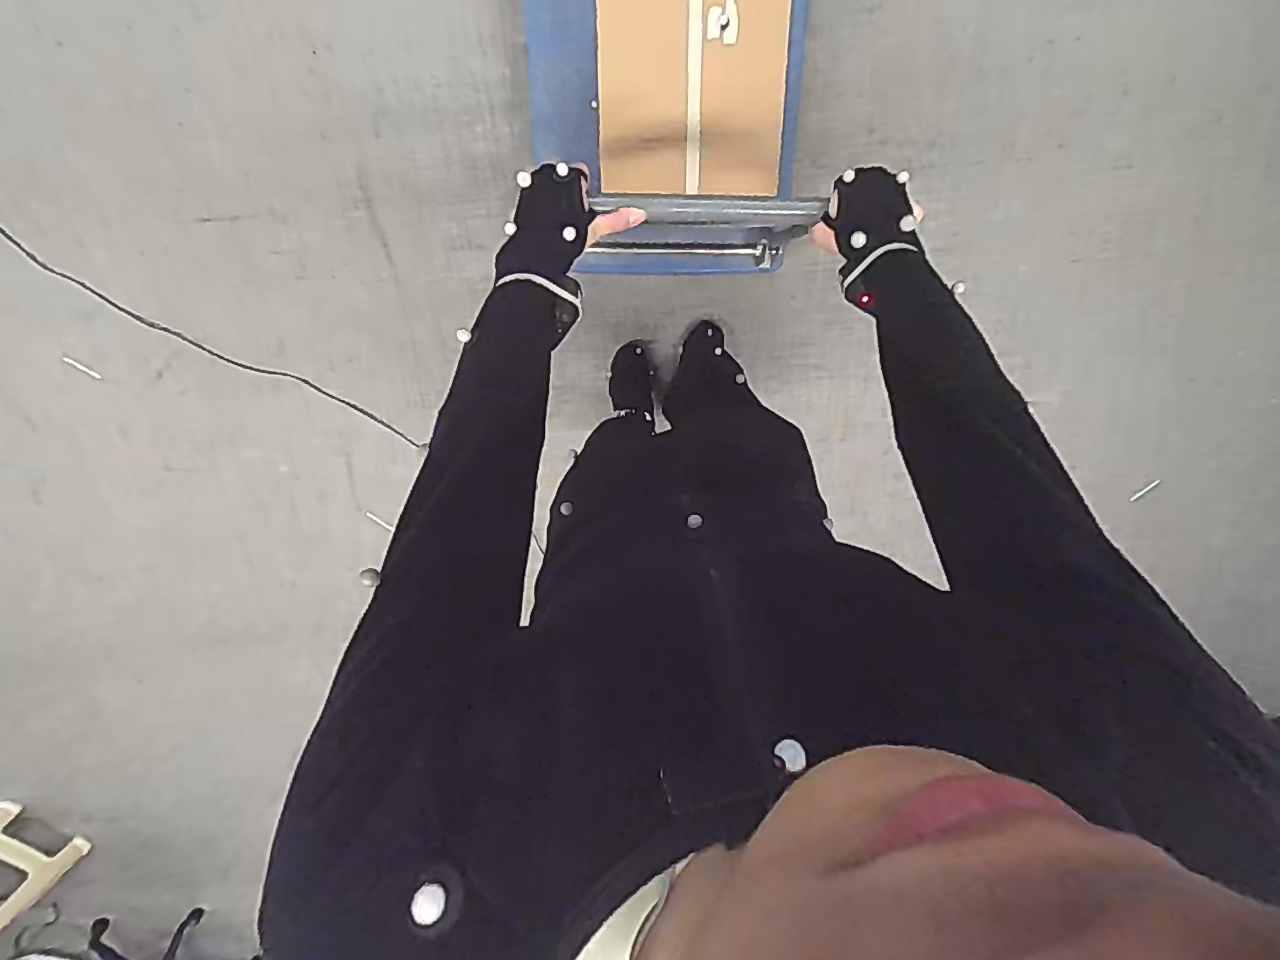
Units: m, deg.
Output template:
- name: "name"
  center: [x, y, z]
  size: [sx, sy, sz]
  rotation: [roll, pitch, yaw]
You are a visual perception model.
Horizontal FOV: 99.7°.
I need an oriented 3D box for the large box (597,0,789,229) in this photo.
- name: "large box"
  center: [0.083, -0.718, 1.036]
  size: [0.320, 0.320, 0.408]
  rotation: [-1, 109, -2]
